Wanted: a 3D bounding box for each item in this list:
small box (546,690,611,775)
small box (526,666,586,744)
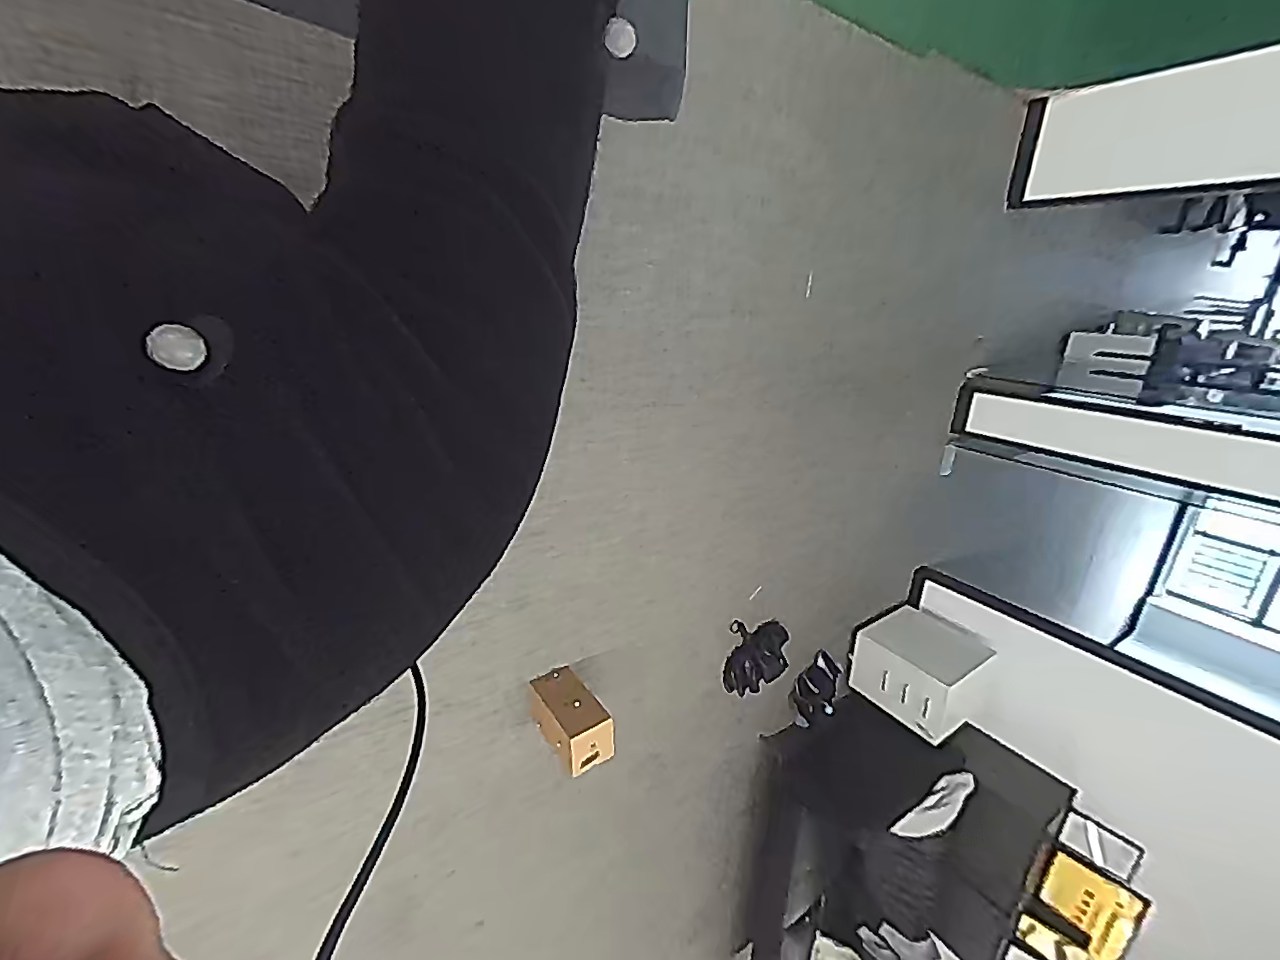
[{"bbox_3d":[-0.215,0.877,1.893,0.168,0.176,0.179,-16,116,-33],"label":"small box"},{"bbox_3d":[-0.312,0.835,2.020,0.168,0.176,0.179,-16,115,-33],"label":"small box"}]
